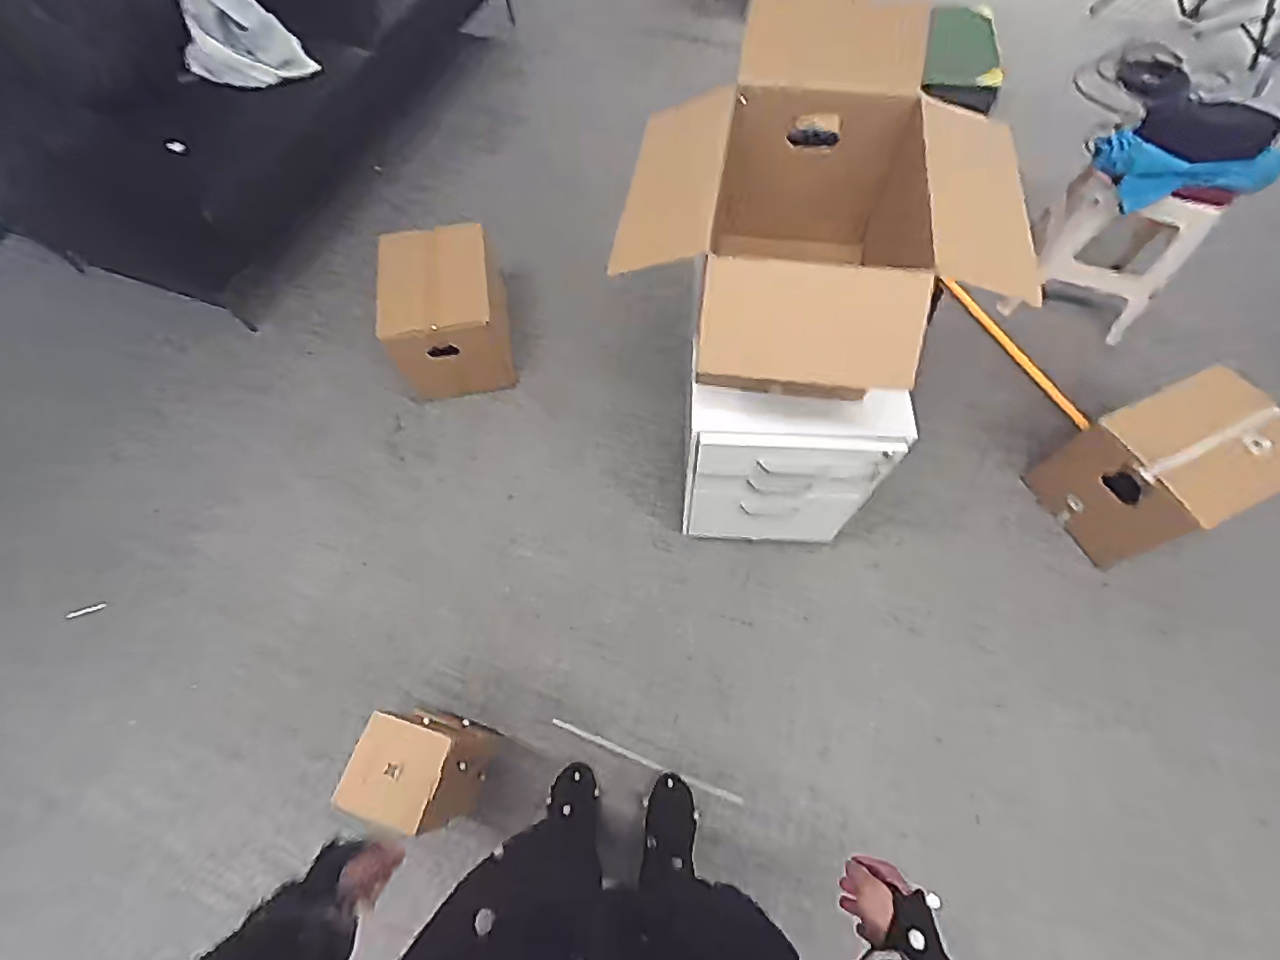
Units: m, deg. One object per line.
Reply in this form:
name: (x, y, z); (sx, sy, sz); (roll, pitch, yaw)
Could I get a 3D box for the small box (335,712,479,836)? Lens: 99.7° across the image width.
small box: (-0.447, 0.576, 1.074); (0.179, 0.176, 0.168); (14, 64, 11)

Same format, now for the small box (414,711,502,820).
small box: (-0.438, 0.639, 1.225); (0.179, 0.176, 0.168); (17, 65, 10)
